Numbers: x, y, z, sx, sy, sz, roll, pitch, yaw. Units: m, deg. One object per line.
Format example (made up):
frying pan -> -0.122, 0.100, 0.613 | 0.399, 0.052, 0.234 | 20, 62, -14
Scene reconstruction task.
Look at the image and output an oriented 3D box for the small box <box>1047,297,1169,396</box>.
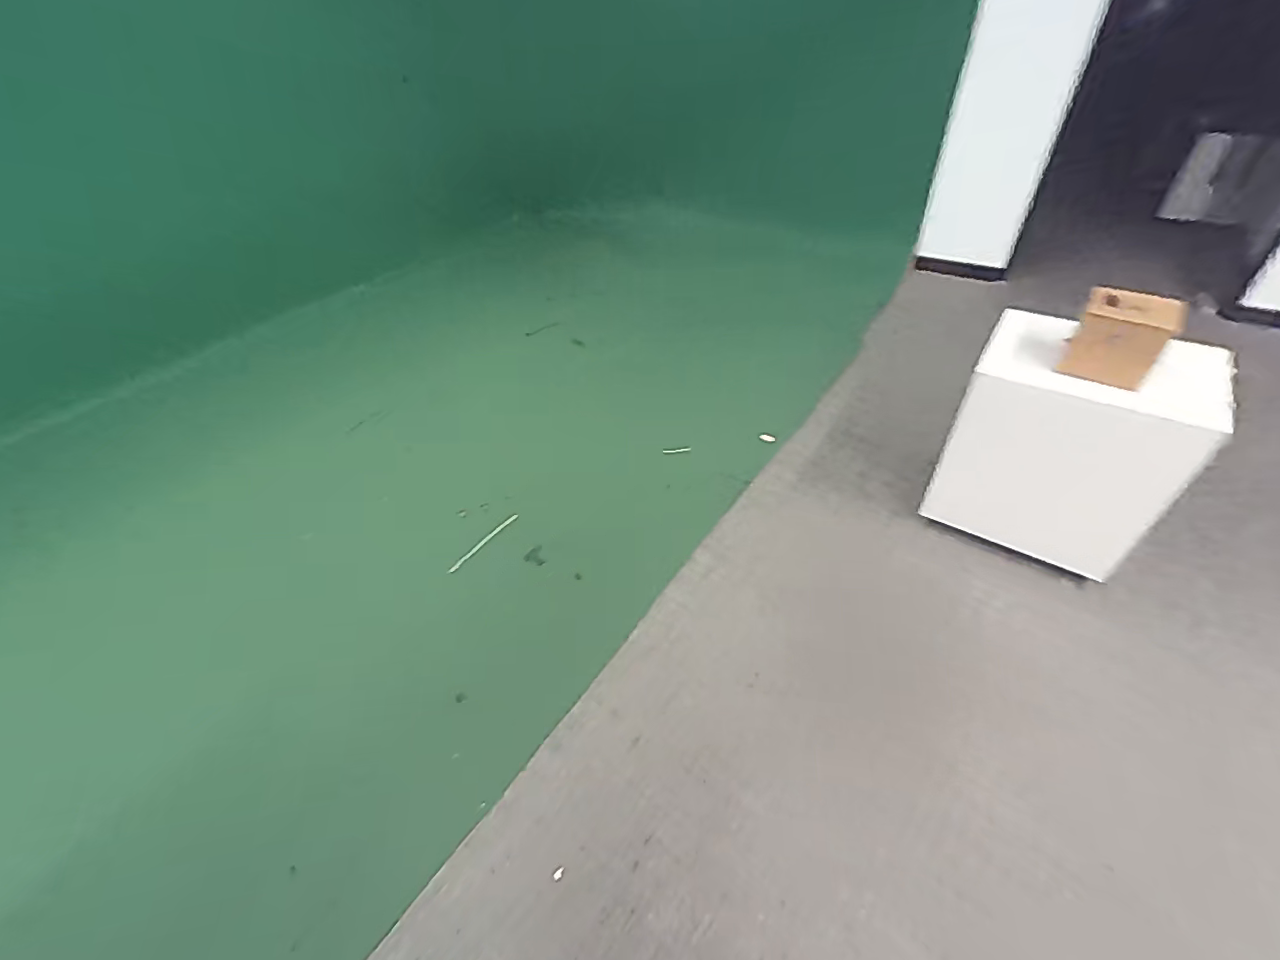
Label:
small box -> 1.162, -0.333, 1.351 | 0.179, 0.176, 0.168 | 25, 51, 29
